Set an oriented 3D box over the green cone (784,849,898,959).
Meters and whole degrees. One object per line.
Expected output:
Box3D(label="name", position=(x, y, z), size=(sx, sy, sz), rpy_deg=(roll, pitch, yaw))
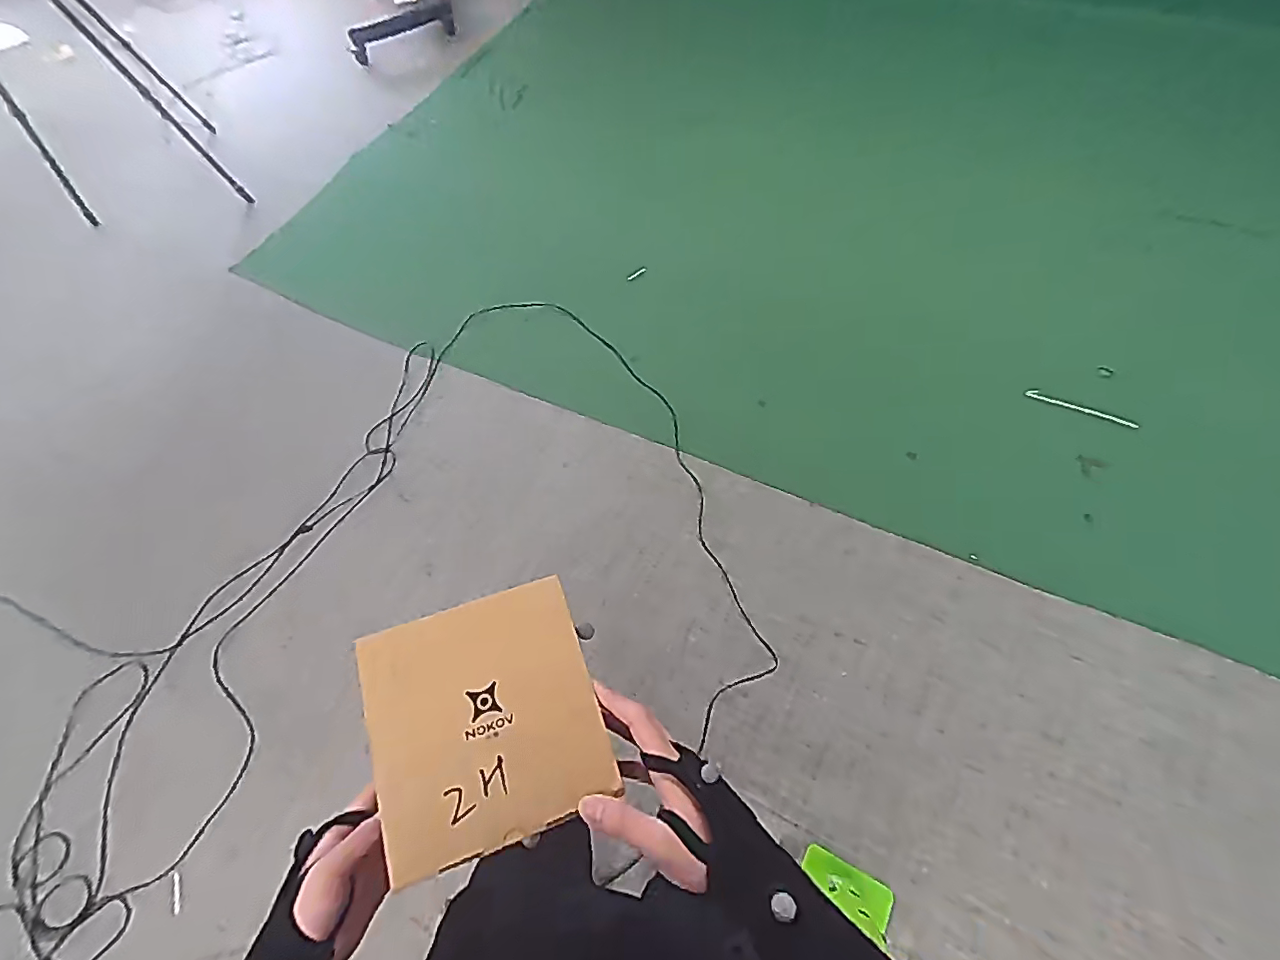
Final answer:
Box3D(label="green cone", position=(0.418, 0.872, 1.026), size=(0.202, 0.368, 0.200), rpy_deg=(23, 67, 18))
